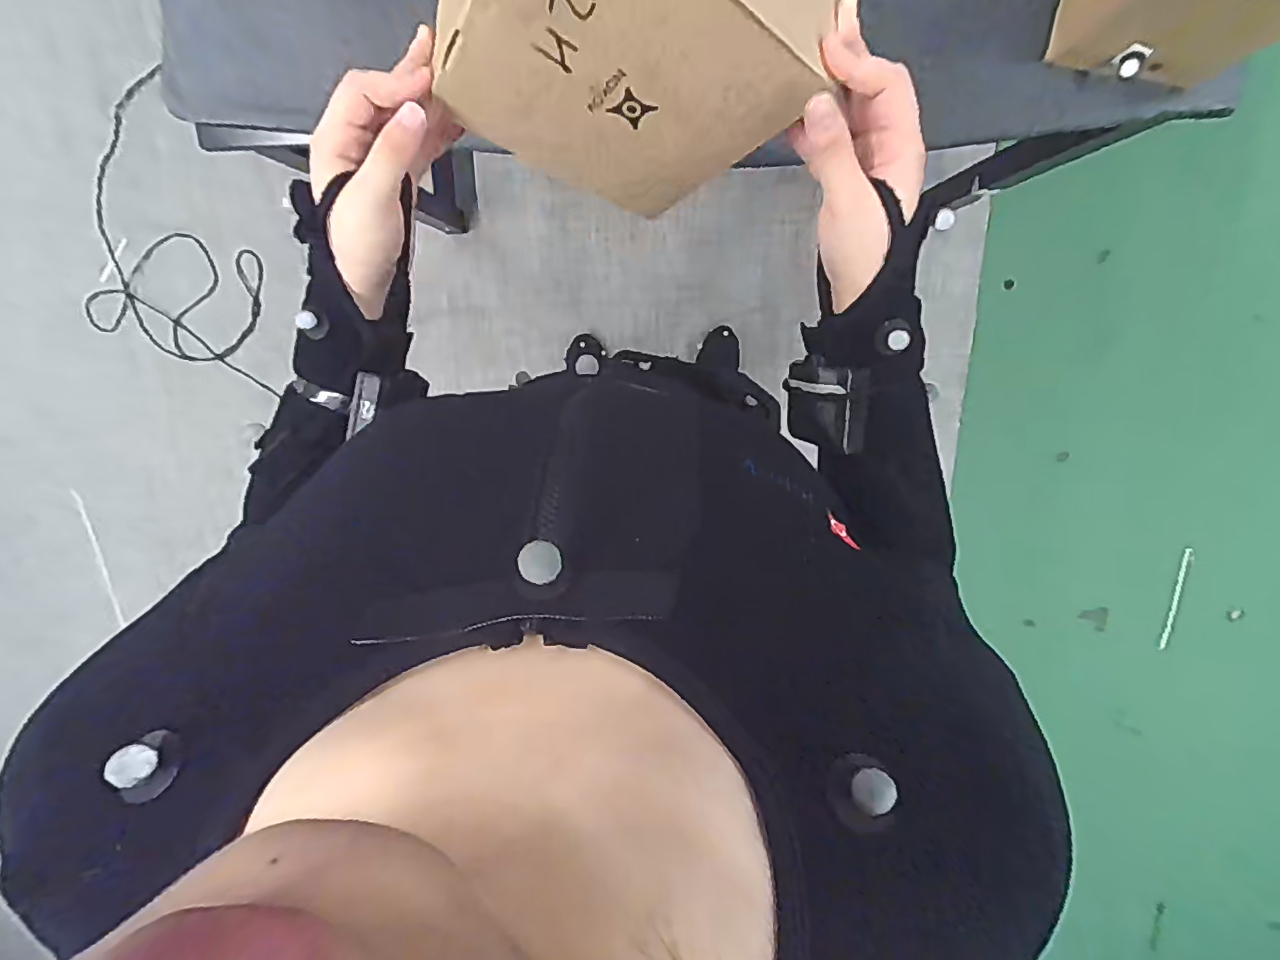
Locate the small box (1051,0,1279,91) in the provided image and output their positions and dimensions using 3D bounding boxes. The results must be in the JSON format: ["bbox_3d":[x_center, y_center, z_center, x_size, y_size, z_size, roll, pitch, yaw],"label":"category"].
[{"bbox_3d":[0.528,-0.502,0.494,0.168,0.176,0.179,9,103,2],"label":"small box"}]
